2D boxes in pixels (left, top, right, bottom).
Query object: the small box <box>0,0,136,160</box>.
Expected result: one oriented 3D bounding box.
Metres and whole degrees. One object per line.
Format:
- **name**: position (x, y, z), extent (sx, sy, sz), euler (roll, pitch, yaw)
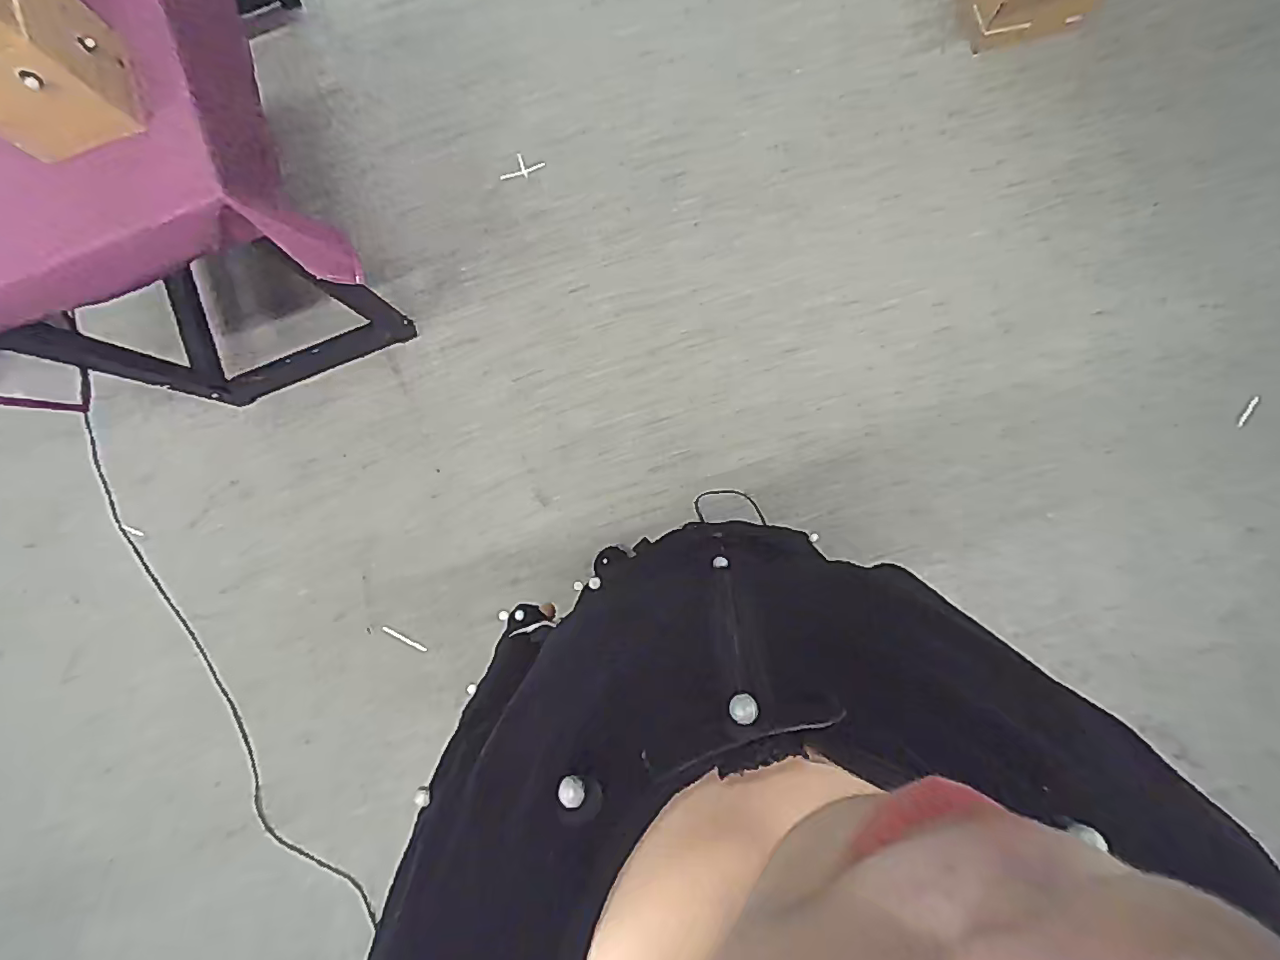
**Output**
- **small box**: position (-0.895, -0.614, 0.790), extent (0.179, 0.176, 0.168), euler (-18, 85, 2)
